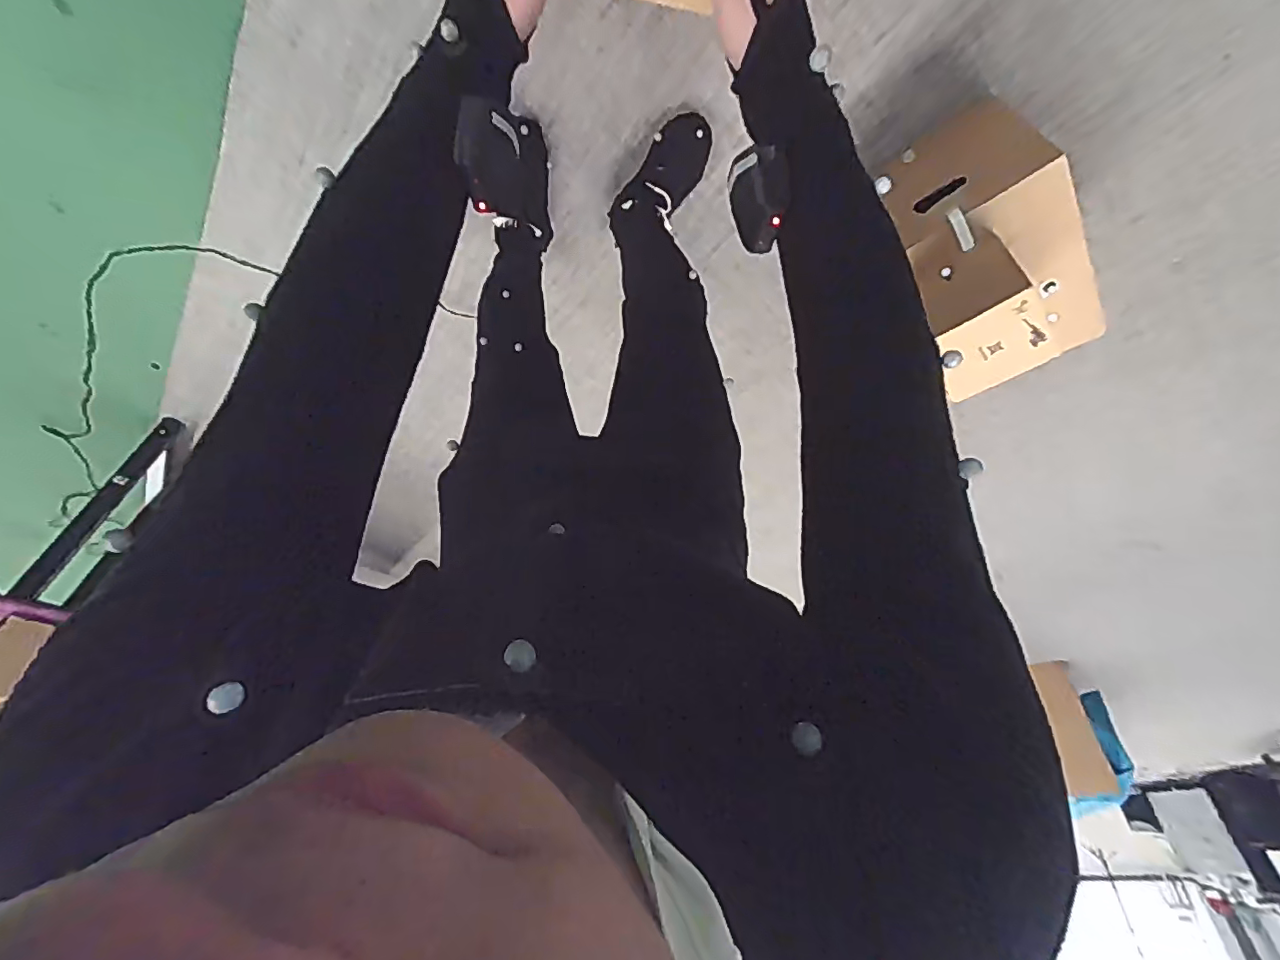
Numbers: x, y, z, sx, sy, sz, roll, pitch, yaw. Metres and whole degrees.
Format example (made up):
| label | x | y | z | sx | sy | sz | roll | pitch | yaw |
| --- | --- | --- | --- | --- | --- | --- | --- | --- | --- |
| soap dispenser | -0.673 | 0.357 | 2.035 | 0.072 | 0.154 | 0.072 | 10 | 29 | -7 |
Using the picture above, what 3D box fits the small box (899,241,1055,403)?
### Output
| label | x | y | z | sx | sy | sz | roll | pitch | yaw |
| --- | --- | --- | --- | --- | --- | --- | --- | --- | --- |
| small box | 0.580 | -0.275 | 0.953 | 0.179 | 0.176 | 0.168 | -28 | 130 | 34 |
